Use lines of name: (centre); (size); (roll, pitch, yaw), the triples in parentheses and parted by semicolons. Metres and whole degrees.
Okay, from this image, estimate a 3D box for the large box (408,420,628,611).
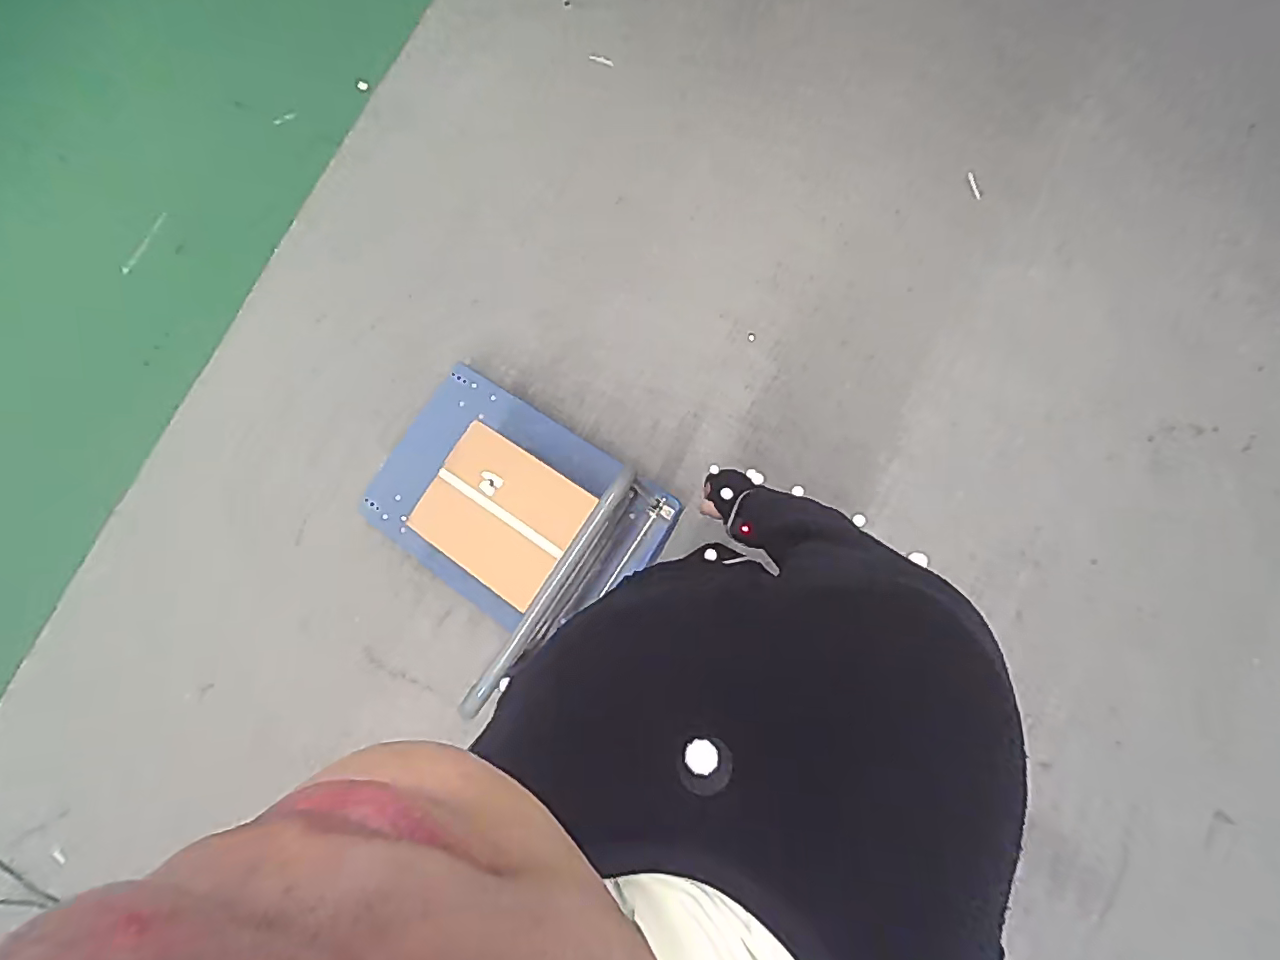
large box: (-0.299, 0.102, 1.426); (0.408, 0.320, 0.320); (32, 86, 15)
